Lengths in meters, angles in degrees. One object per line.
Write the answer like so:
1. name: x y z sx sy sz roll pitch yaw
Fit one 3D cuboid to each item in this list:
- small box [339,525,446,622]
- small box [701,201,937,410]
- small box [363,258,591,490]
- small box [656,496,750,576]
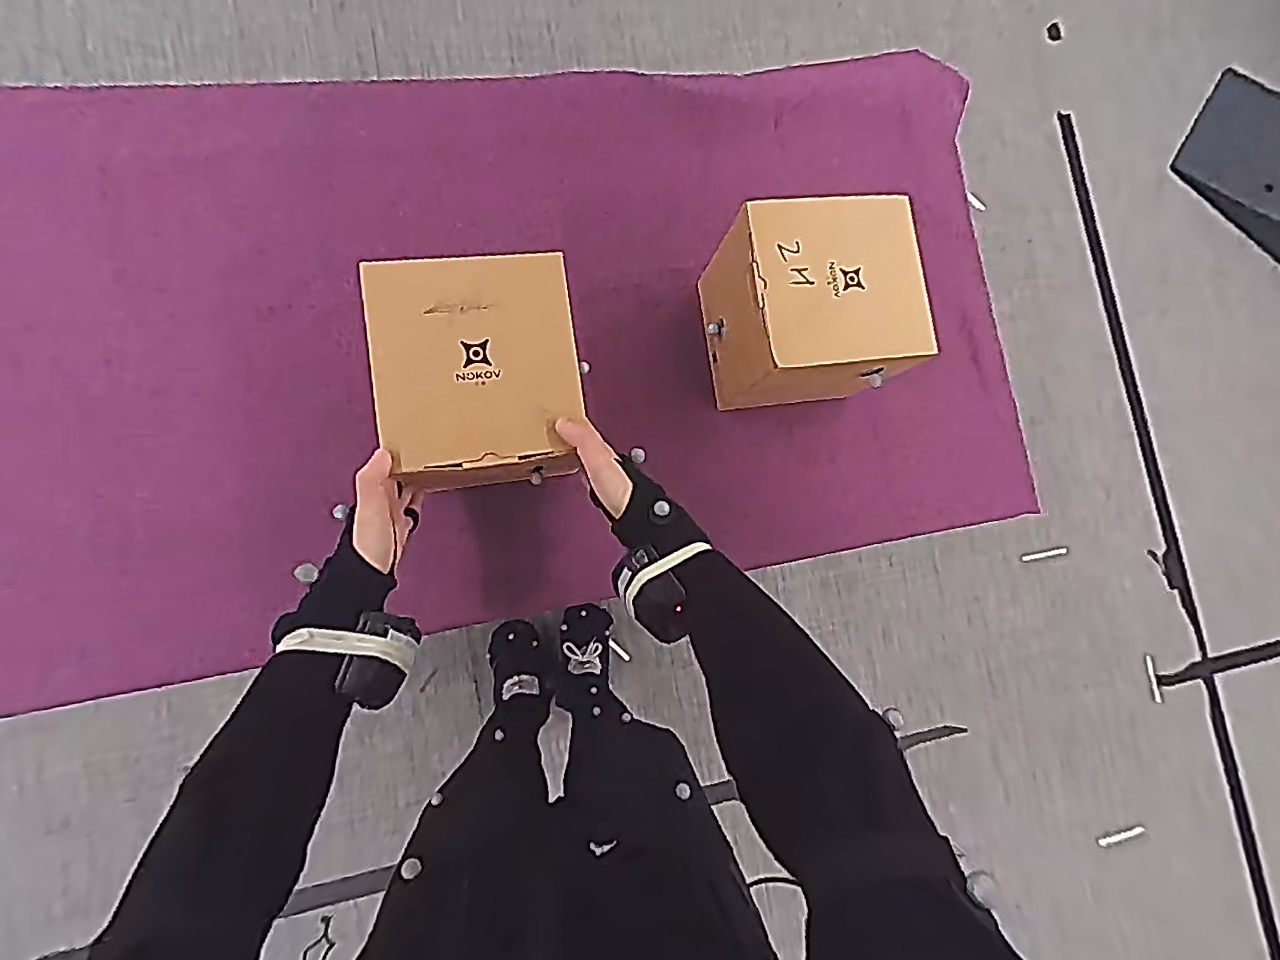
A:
1. small box: -0.530 0.196 1.178 0.168 0.176 0.179 -8 85 -11
2. small box: 0.182 -0.181 0.596 0.179 0.176 0.168 -7 85 -10
3. small box: -0.145 -0.087 0.521 0.168 0.176 0.179 -8 86 -12
4. small box: 0.147 0.133 1.304 0.179 0.176 0.168 8 83 -8
